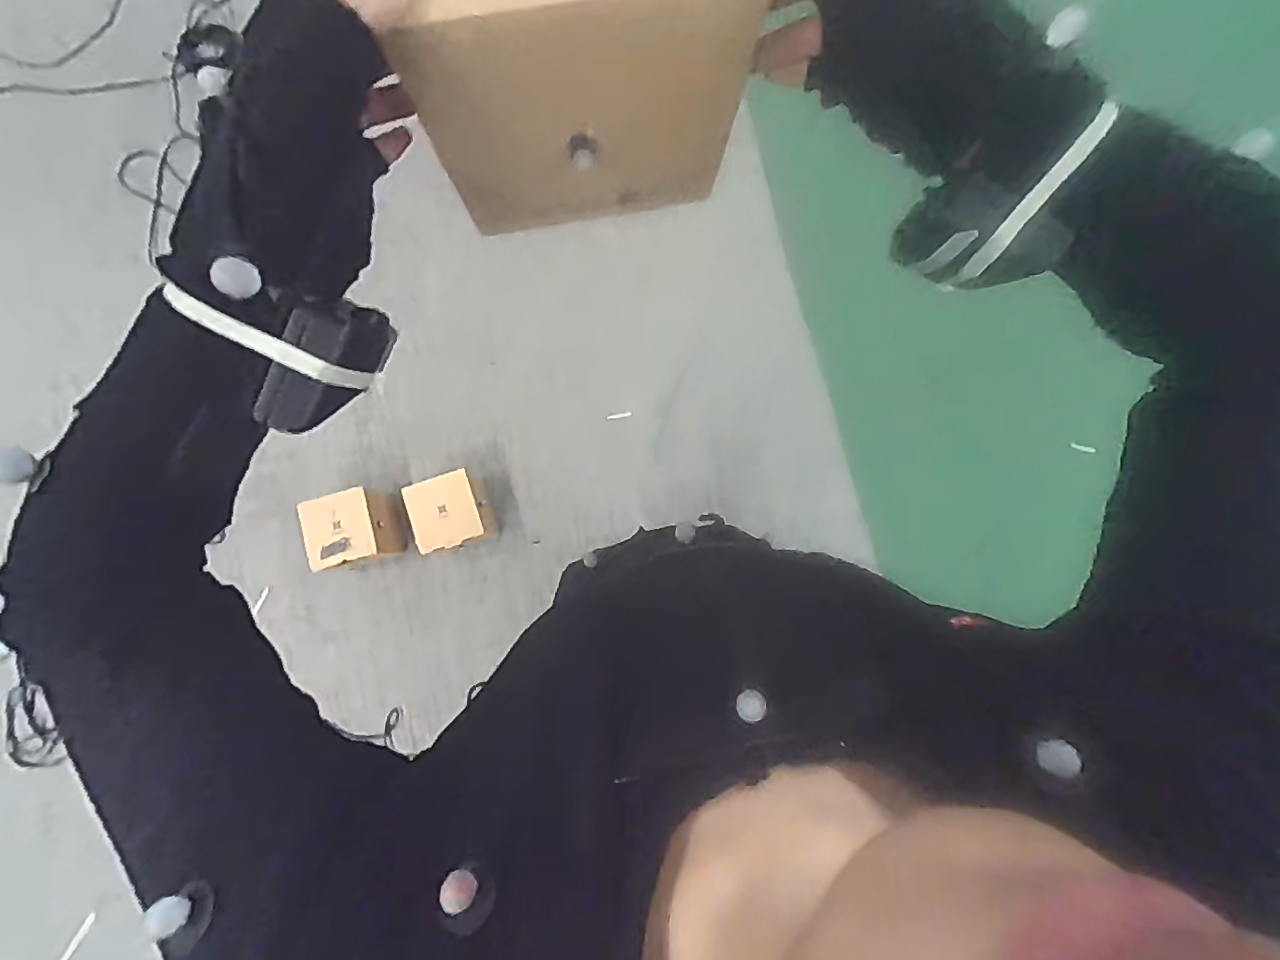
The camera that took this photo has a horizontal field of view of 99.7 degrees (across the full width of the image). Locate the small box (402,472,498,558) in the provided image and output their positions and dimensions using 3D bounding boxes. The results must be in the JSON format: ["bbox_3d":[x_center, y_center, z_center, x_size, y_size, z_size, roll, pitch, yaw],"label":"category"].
[{"bbox_3d":[-0.486,0.096,1.404,0.168,0.176,0.179,-19,84,-4],"label":"small box"}]

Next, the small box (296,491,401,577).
[{"bbox_3d":[-0.737,0.139,1.387,0.168,0.176,0.179,-16,82,-4],"label":"small box"}]
